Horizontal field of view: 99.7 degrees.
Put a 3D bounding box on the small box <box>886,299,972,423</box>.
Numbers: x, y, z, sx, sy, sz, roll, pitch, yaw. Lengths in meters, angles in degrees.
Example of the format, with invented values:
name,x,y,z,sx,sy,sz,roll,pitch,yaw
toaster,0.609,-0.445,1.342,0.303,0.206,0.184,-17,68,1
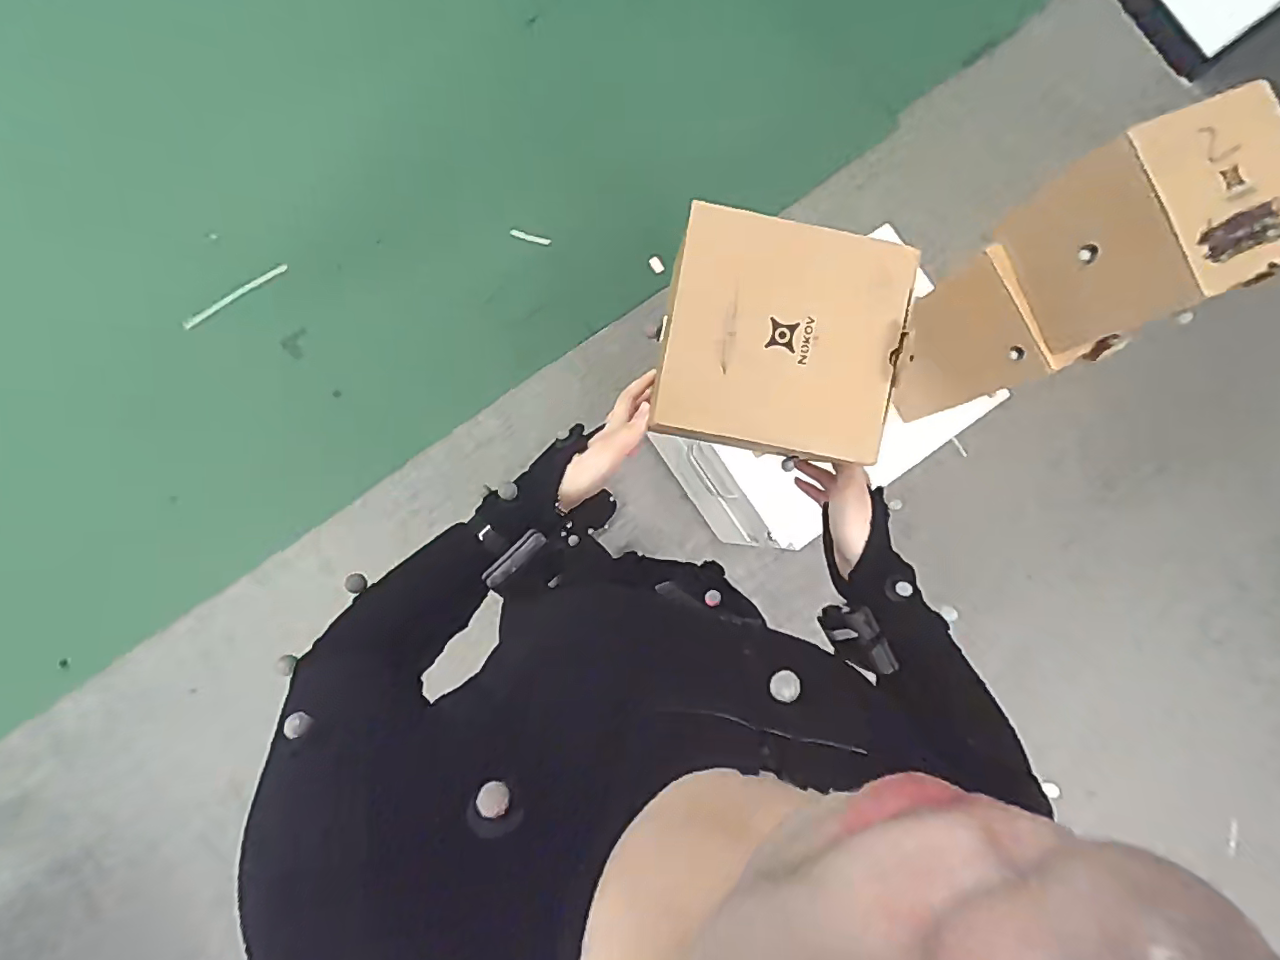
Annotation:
name,x,y,z,sx,sy,sz,roll,pitch,yaw
small box,0.516,-0.218,0.909,0.168,0.176,0.179,-27,87,-6

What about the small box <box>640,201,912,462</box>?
name,x,y,z,sx,sy,sz,roll,pitch,yaw
small box,0.101,-0.113,0.480,0.179,0.176,0.168,10,92,-2

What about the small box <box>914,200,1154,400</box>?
name,x,y,z,sx,sy,sz,roll,pitch,yaw
small box,0.524,-0.235,0.747,0.168,0.176,0.179,-27,87,-6
